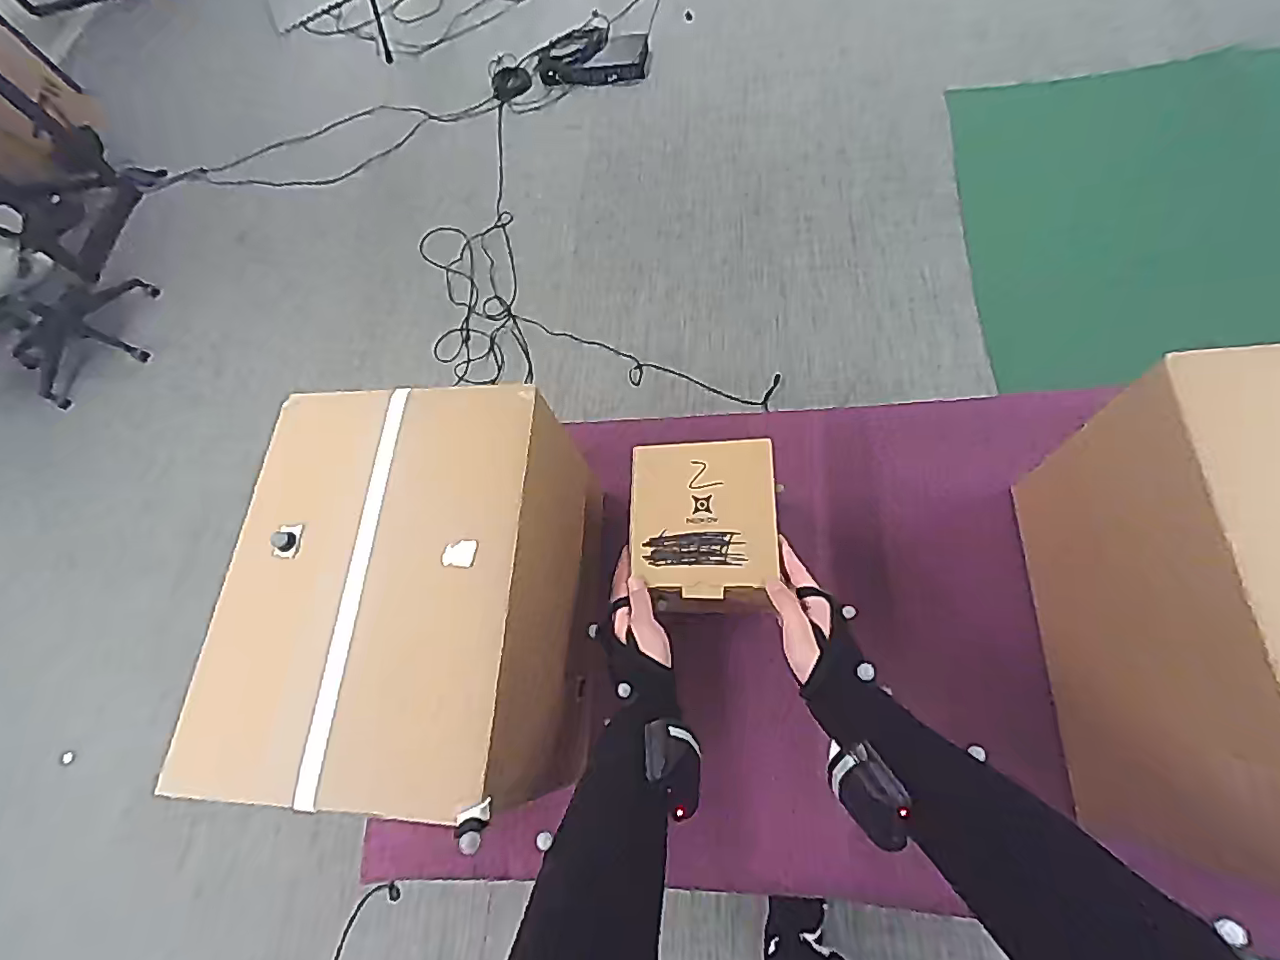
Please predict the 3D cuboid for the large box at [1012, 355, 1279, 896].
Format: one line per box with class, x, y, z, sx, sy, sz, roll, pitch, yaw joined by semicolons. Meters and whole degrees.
large box;0.615;0.133;0.498;0.320;0.320;0.408;-1;68;12
